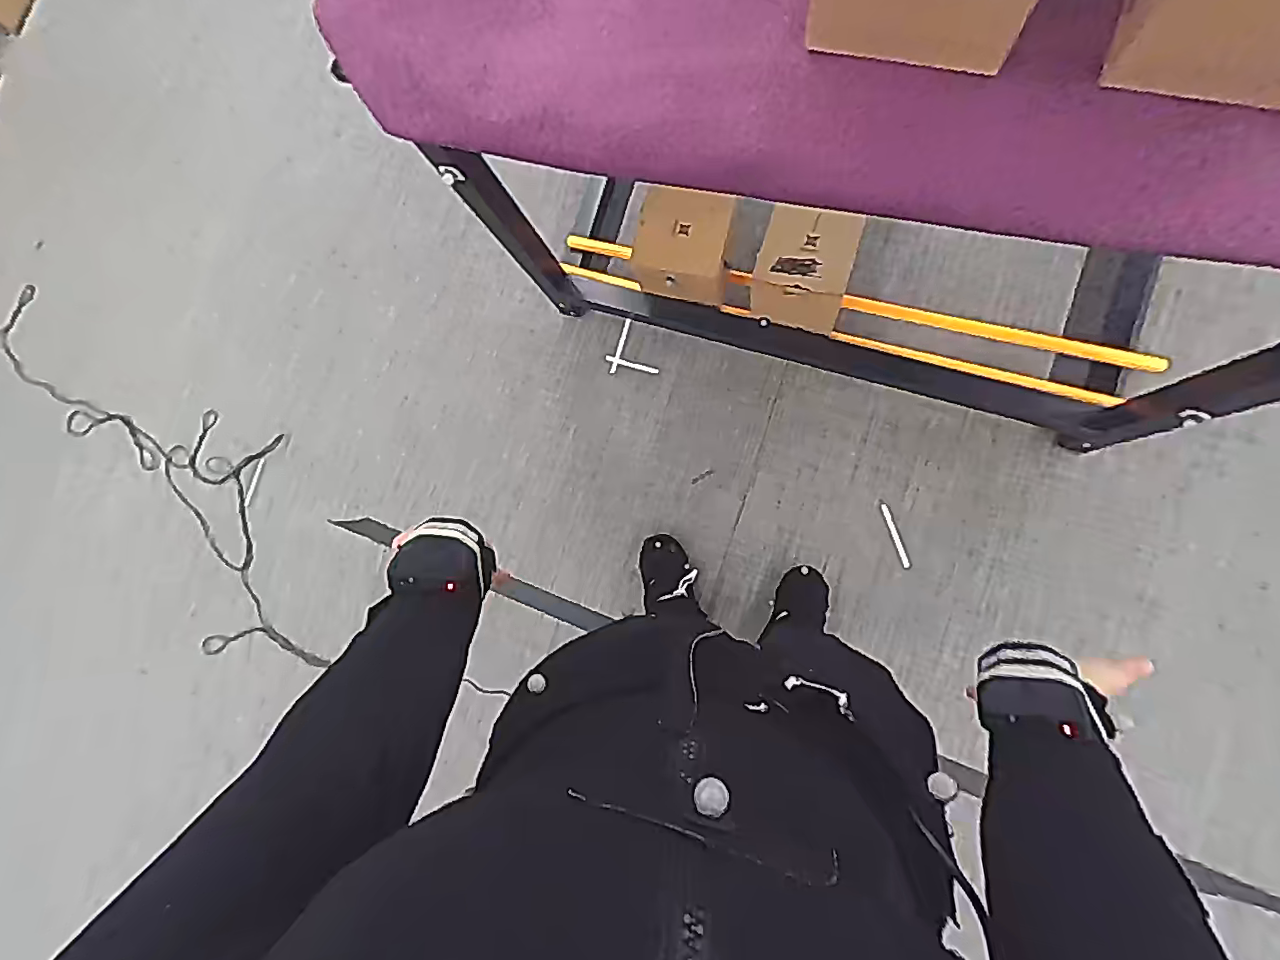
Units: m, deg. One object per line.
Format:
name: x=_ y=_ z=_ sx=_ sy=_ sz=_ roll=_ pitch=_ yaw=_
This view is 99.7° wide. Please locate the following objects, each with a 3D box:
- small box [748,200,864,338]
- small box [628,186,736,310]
small box: x=0.314 y=-0.401 z=1.051 sx=0.168 sy=0.176 sz=0.179 roll=17 pitch=81 yaw=12
small box: x=0.094 y=-0.464 z=1.105 sx=0.179 sy=0.176 sz=0.168 roll=14 pitch=88 yaw=12
